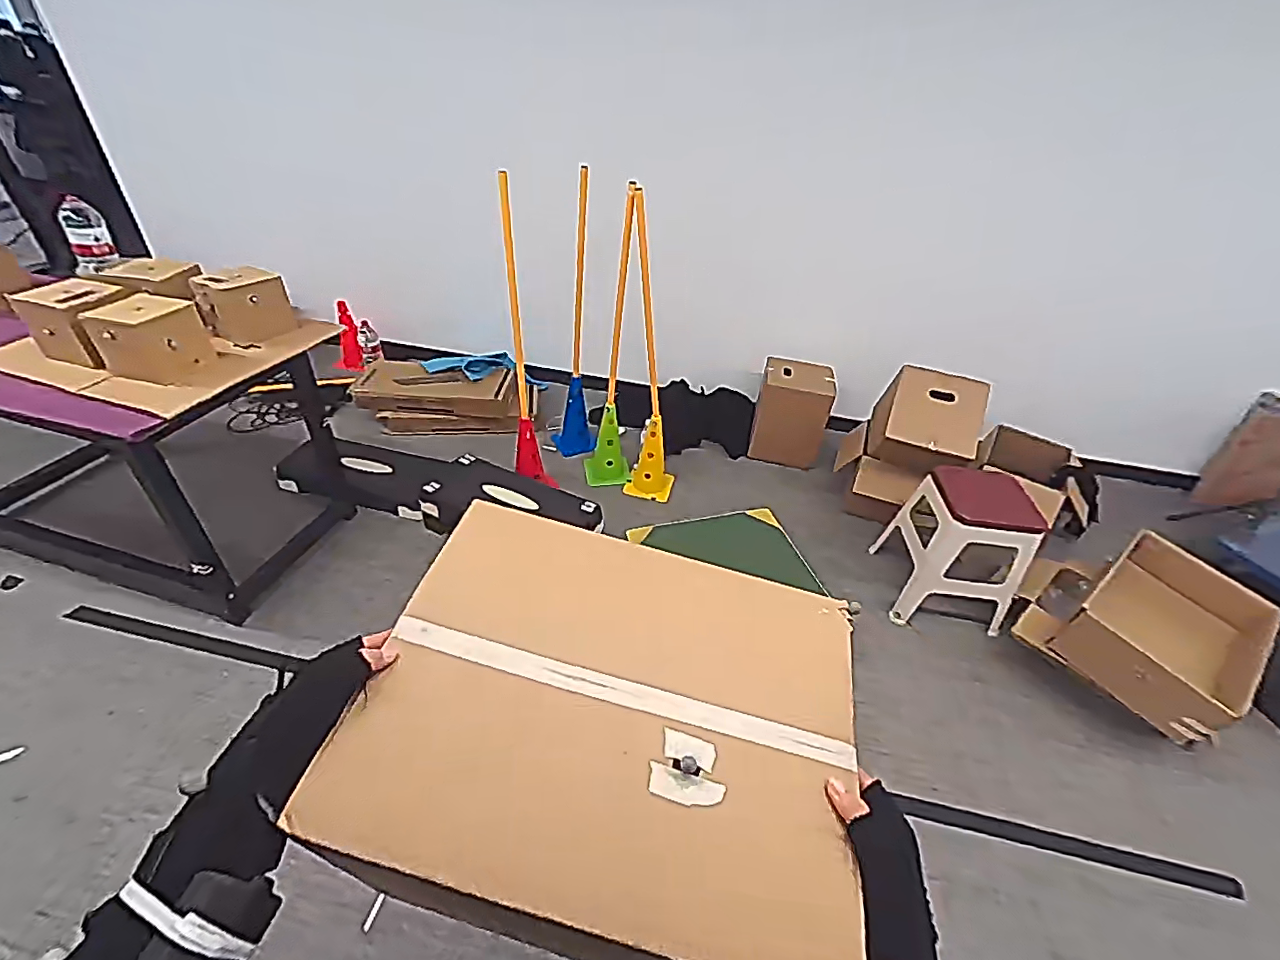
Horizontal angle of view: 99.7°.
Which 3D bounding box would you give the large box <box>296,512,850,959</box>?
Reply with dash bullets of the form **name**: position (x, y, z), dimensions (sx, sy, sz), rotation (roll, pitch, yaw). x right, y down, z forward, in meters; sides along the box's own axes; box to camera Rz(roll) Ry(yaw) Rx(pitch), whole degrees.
- **large box**: position (-0.042, 0.287, 0.576), dimensions (0.408, 0.320, 0.320), rotation (15, 47, 3)
